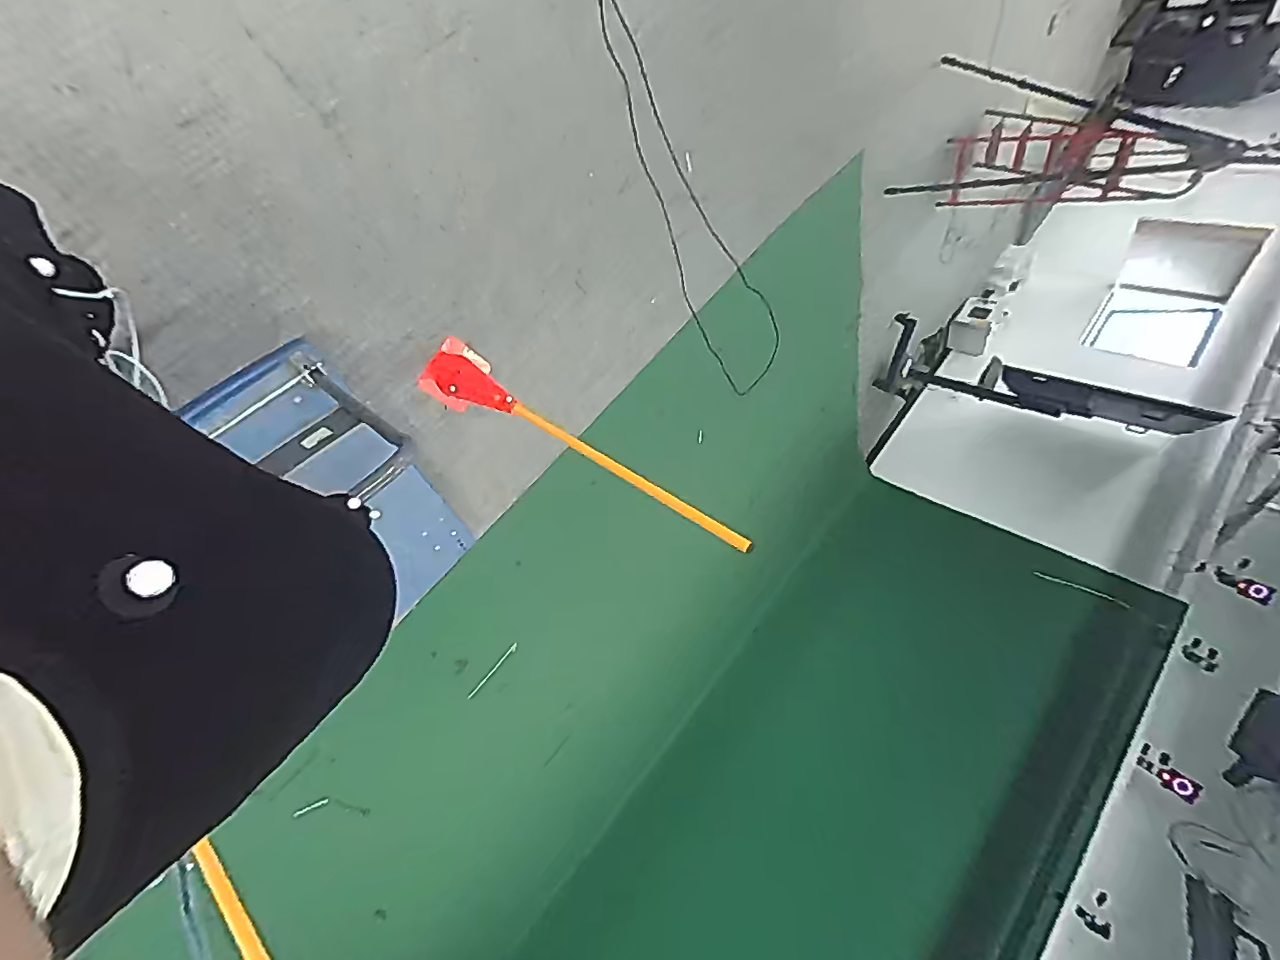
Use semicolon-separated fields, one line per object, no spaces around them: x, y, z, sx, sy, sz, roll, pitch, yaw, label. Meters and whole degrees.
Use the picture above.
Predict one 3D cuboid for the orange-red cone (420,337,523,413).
-0.486;-0.283;1.692;0.199;0.360;0.198;-58;145;-6;orange-red cone
